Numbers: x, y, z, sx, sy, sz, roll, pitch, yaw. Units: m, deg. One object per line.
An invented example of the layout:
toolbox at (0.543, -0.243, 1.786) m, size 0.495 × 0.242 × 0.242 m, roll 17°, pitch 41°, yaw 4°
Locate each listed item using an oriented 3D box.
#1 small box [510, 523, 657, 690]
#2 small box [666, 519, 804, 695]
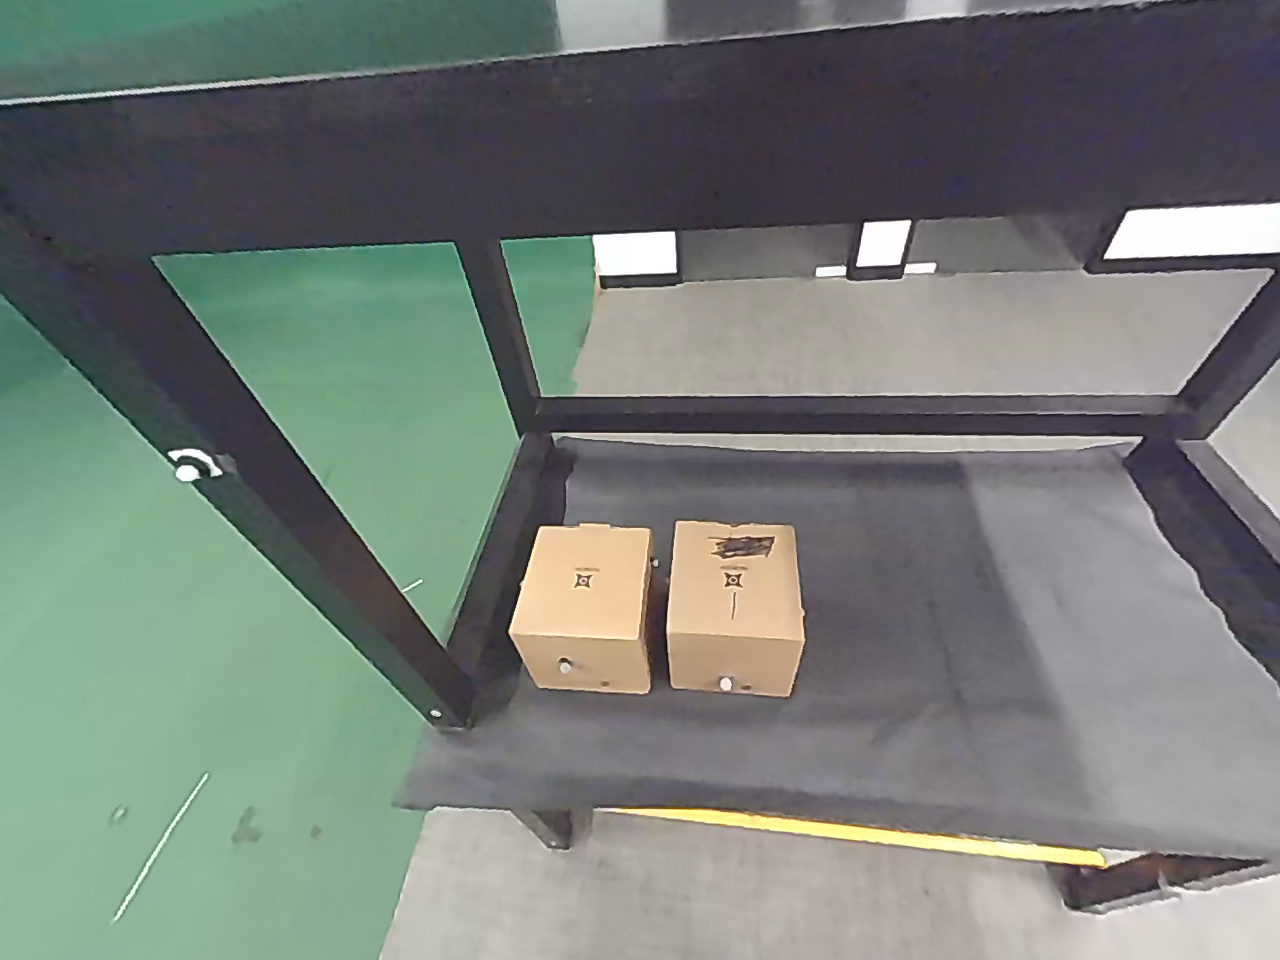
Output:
small box at (-0.067, 0.182, 0.775) m, size 0.168 × 0.176 × 0.179 m, roll 1°, pitch 46°, yaw 7°
small box at (0.129, 0.176, 0.756) m, size 0.168 × 0.176 × 0.179 m, roll 1°, pitch 47°, yaw 9°
